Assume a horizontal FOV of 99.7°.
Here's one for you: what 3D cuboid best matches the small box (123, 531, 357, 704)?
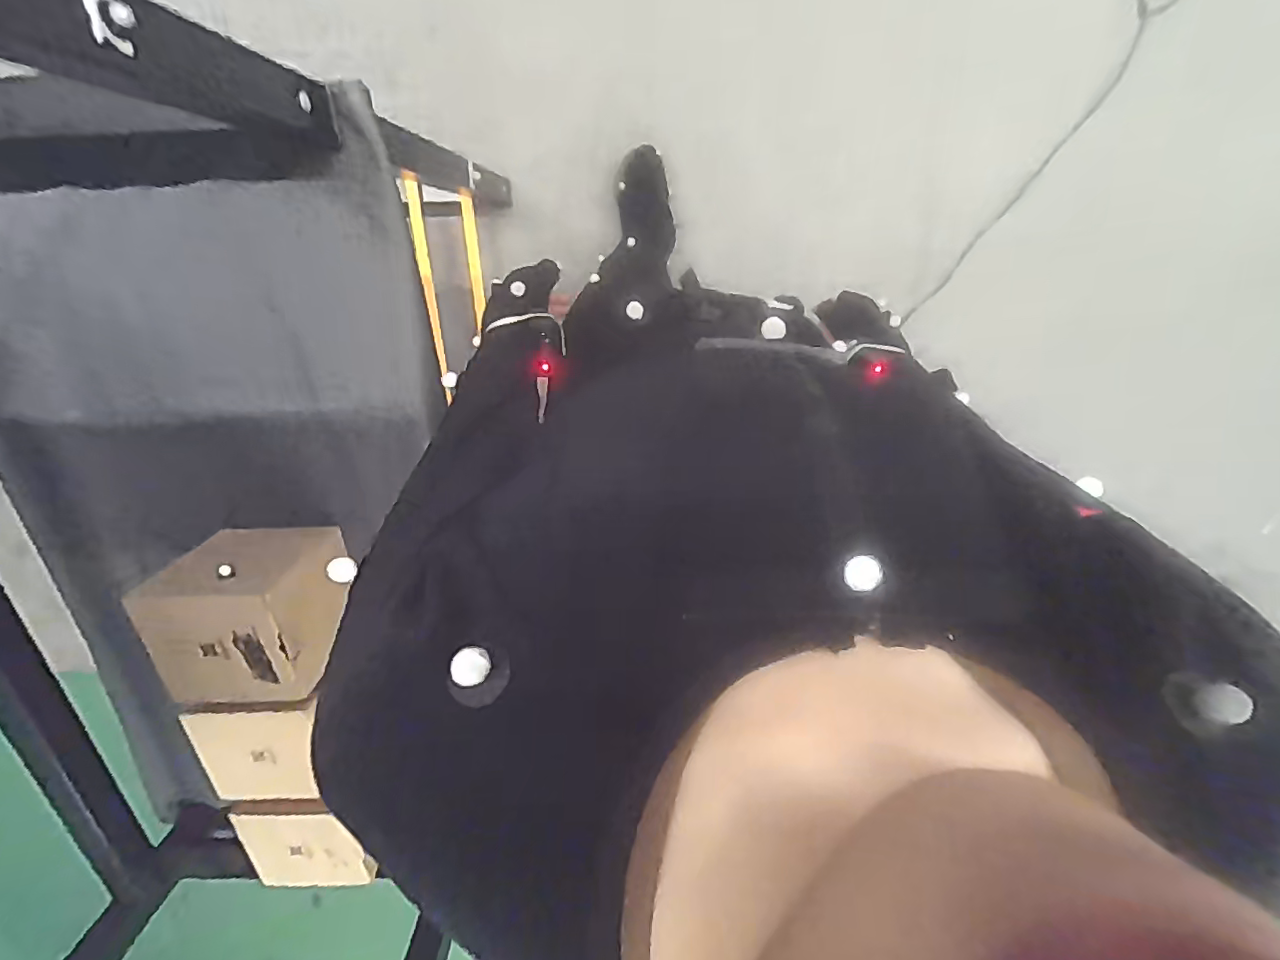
[{"bbox_3d":[-0.512,0.177,0.730,0.179,0.176,0.168,-1,113,3],"label":"small box"}]

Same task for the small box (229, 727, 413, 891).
[{"bbox_3d":[-0.499,0.523,0.875,0.179,0.176,0.168,-2,113,2],"label":"small box"}]
